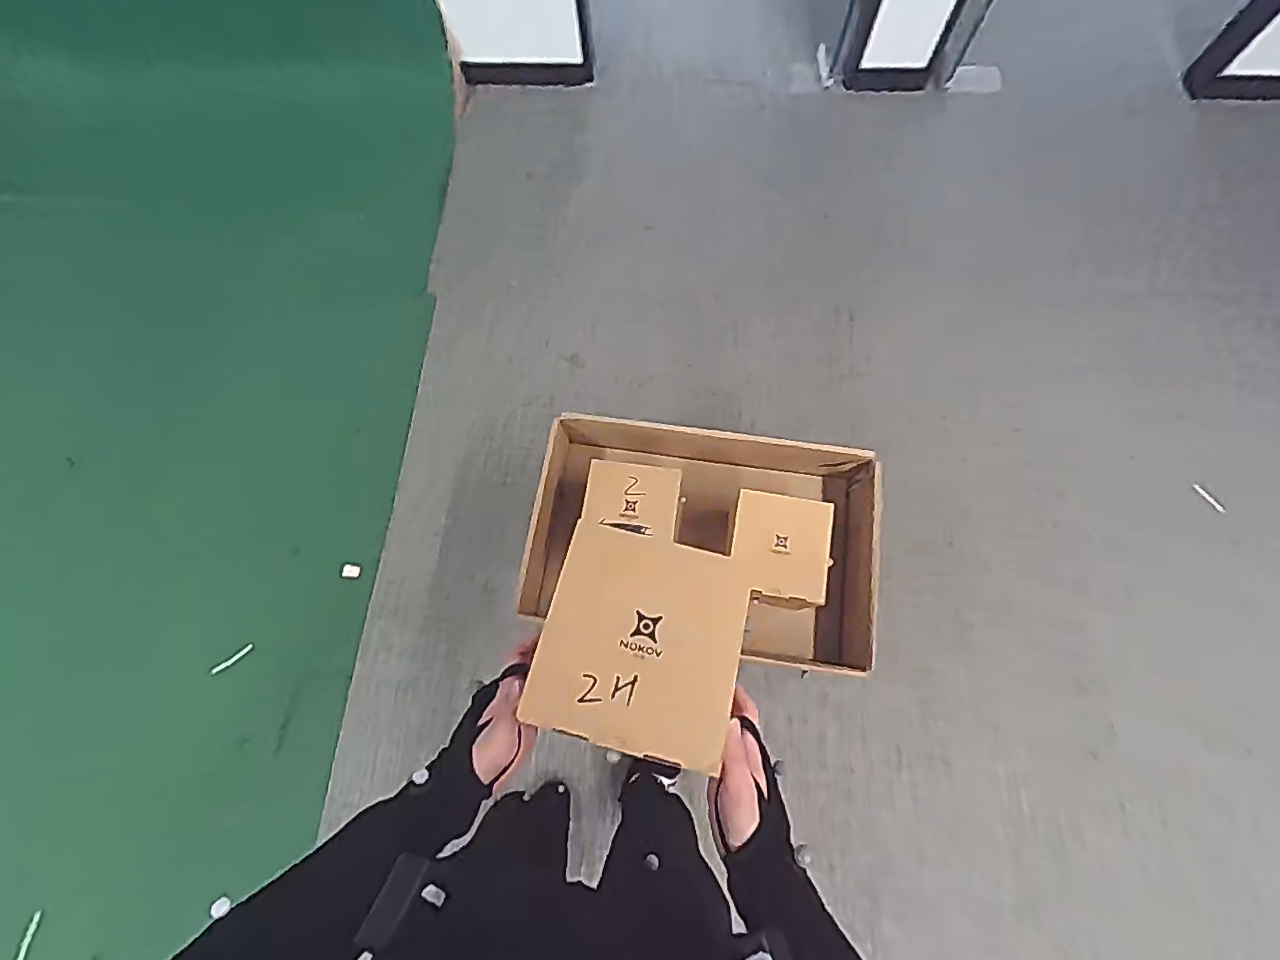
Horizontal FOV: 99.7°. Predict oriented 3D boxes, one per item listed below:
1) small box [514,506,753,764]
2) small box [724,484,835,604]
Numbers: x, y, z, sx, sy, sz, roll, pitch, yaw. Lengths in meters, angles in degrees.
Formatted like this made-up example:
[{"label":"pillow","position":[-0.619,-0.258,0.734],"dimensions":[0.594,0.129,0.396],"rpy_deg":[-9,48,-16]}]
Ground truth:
[{"label":"small box","position":[-0.003,0.152,0.517],"dimensions":[0.168,0.176,0.179],"rpy_deg":[14,65,4]},{"label":"small box","position":[0.242,0.123,0.987],"dimensions":[0.168,0.176,0.179],"rpy_deg":[9,75,5]}]
